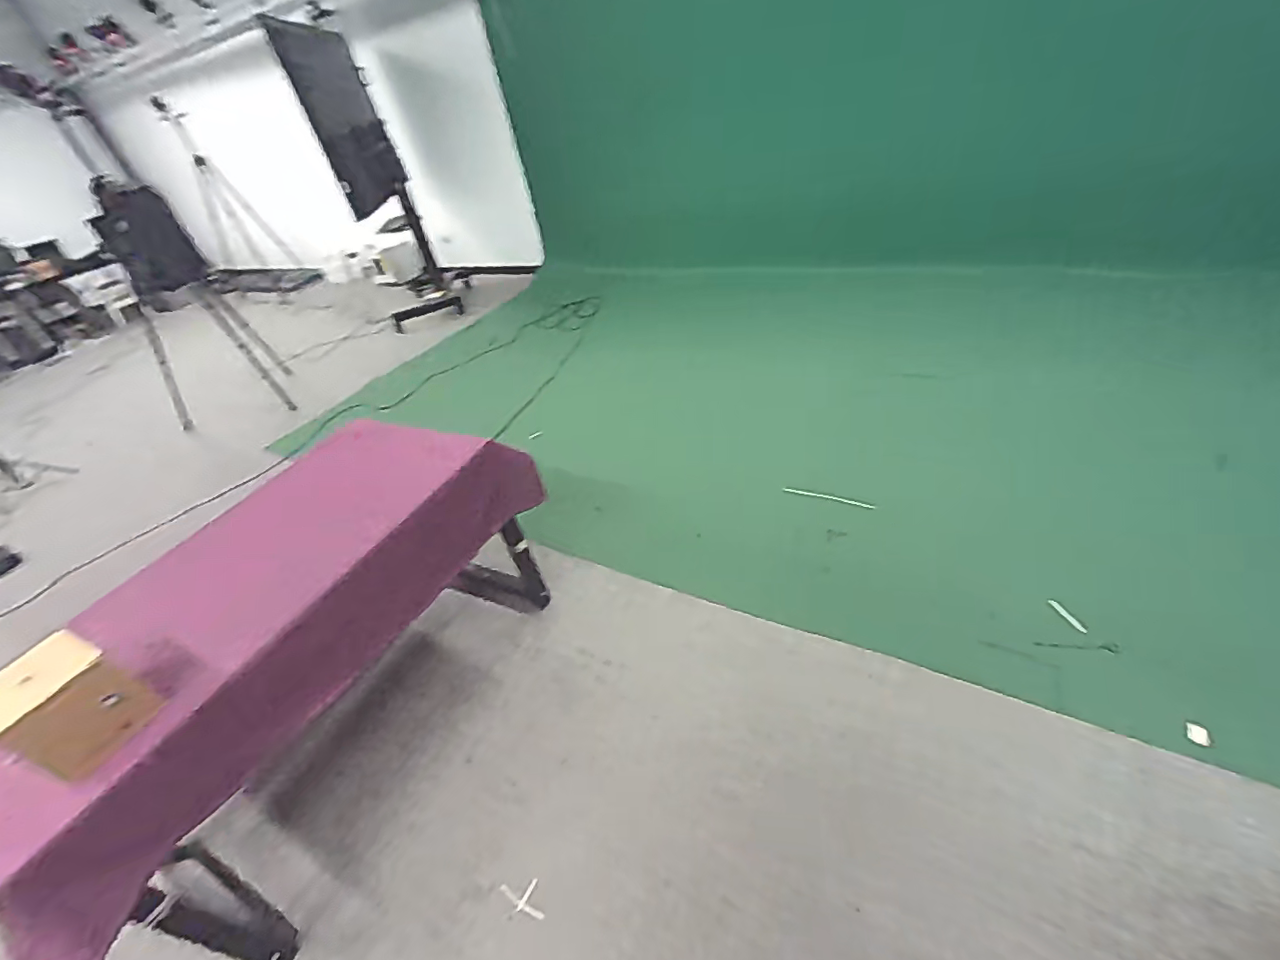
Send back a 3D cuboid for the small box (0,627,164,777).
[{"bbox_3d":[-1.024,0.399,0.970,0.179,0.176,0.168,9,41,26],"label":"small box"}]
